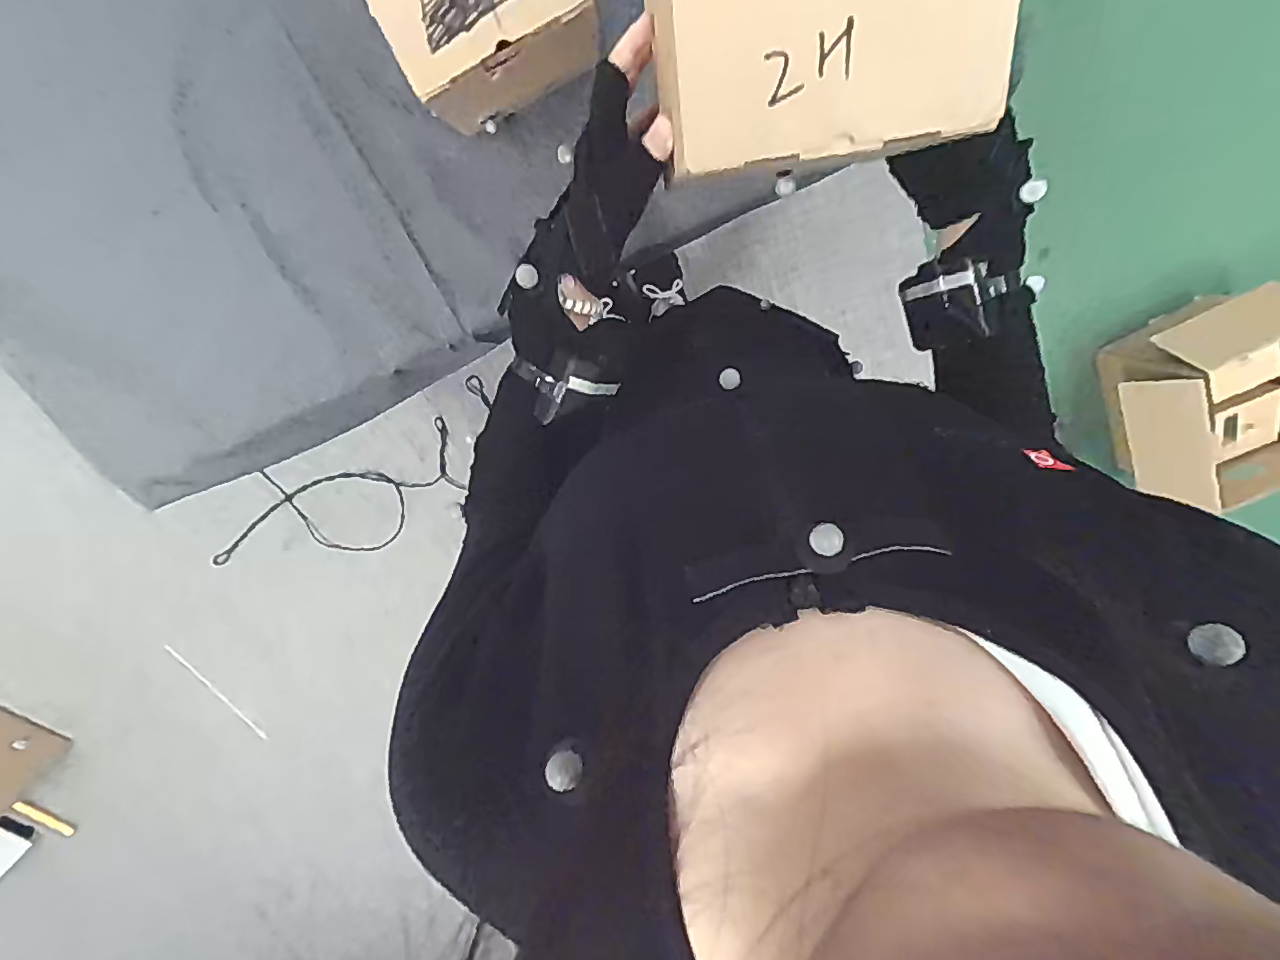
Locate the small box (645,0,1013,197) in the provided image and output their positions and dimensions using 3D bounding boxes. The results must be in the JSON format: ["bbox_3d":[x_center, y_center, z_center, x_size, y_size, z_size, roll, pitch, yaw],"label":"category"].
[{"bbox_3d":[0.091,-0.280,0.321,0.168,0.176,0.179,-8,115,3],"label":"small box"}]

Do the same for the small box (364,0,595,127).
[{"bbox_3d":[-0.149,-0.448,0.483,0.168,0.176,0.179,-24,111,8],"label":"small box"}]
